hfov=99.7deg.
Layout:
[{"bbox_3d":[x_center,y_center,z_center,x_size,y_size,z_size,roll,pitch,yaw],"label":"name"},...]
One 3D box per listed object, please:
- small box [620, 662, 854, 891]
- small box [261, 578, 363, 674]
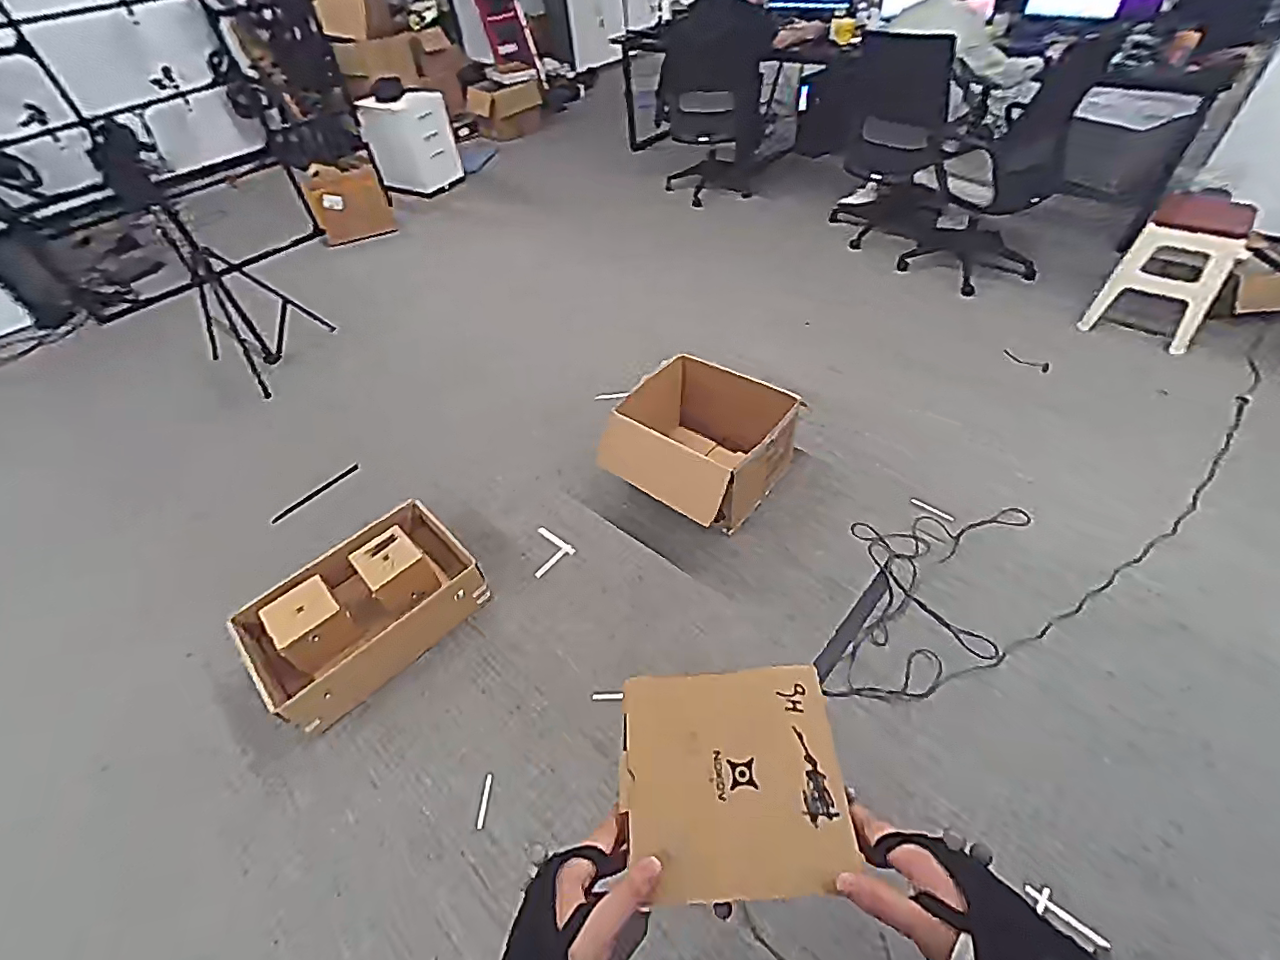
[{"bbox_3d":[0.079,0.285,0.512,0.179,0.176,0.168,-5,54,3],"label":"small box"},{"bbox_3d":[-0.956,0.432,1.587,0.179,0.176,0.168,-36,56,-26],"label":"small box"}]
